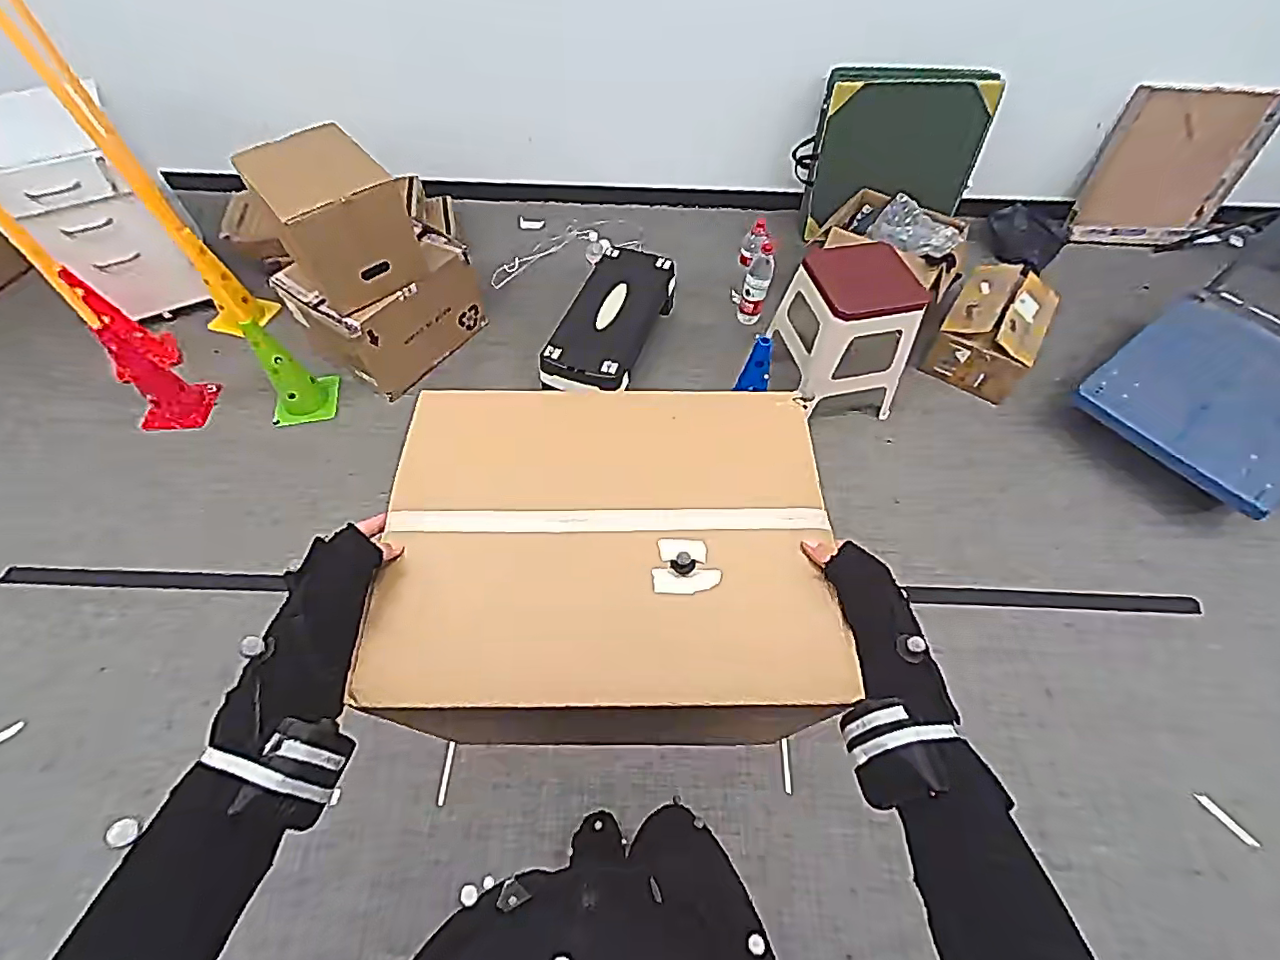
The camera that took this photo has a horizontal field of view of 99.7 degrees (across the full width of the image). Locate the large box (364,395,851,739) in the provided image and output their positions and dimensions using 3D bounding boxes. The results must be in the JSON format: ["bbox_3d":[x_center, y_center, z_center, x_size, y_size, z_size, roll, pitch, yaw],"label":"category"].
[{"bbox_3d":[-0.030,0.115,0.638,0.408,0.320,0.320,1,59,-1],"label":"large box"}]
